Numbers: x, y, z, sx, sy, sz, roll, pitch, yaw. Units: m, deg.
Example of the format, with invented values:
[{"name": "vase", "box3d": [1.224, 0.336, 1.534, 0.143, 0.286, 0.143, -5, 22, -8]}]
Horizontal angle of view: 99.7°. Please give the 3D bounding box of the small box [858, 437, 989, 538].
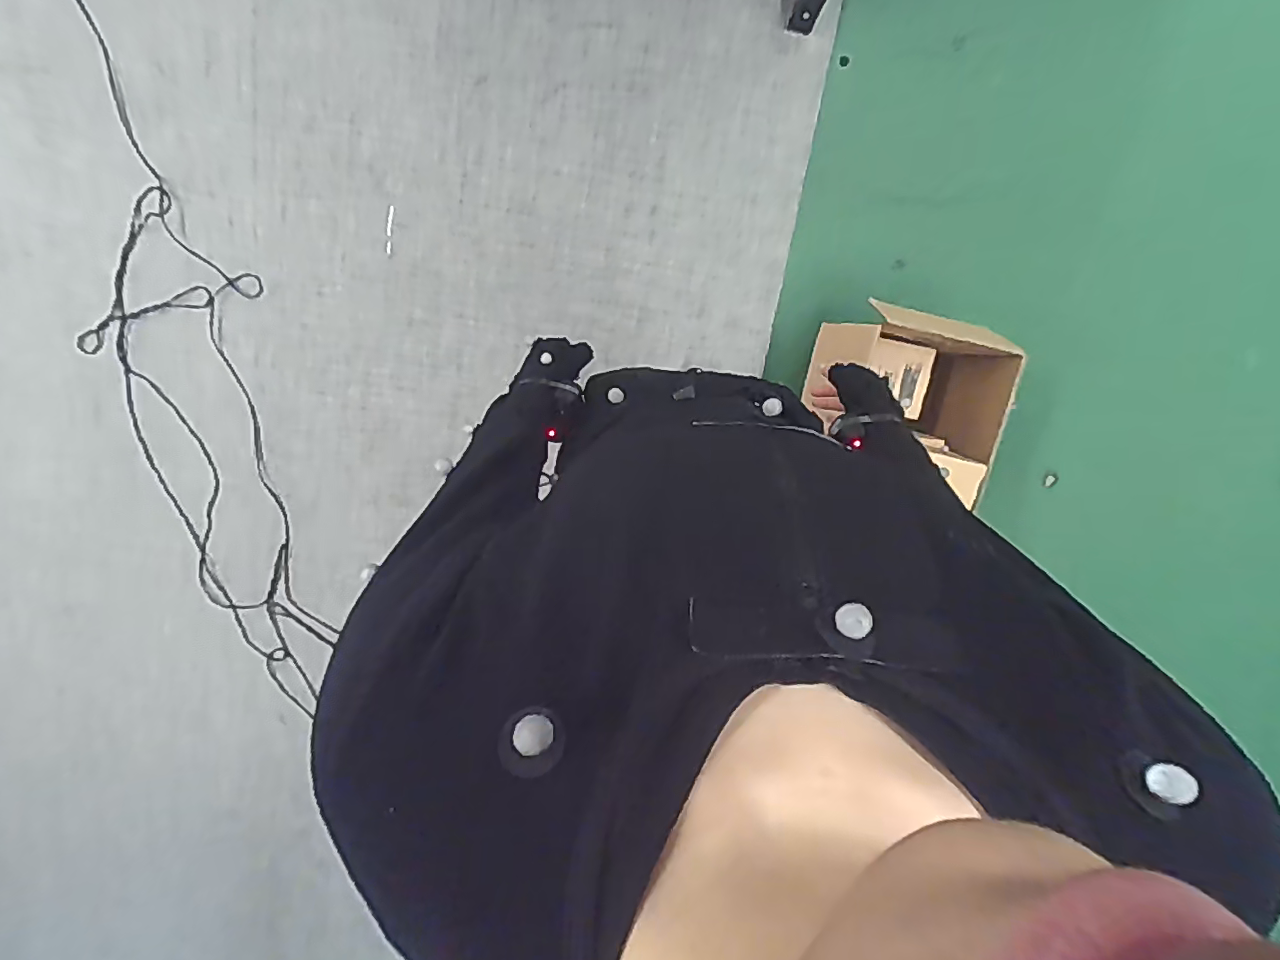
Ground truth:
[{"name": "small box", "box3d": [0.612, 0.008, 1.196, 0.179, 0.176, 0.168, 13, 104, -3]}]
